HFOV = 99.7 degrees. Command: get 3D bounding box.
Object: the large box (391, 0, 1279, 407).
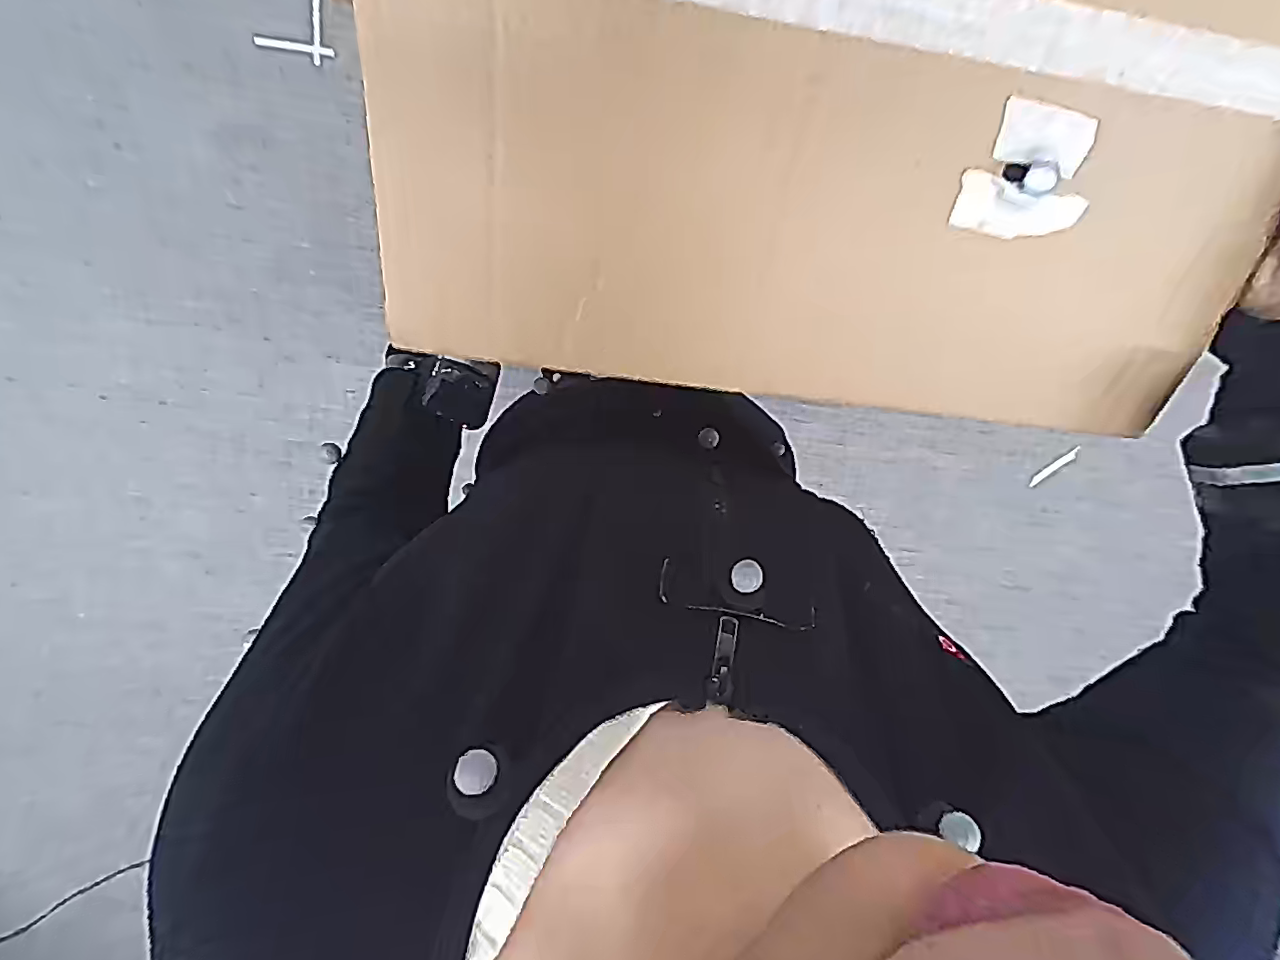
[{"bbox_3d":[0.094,-0.262,0.339,0.408,0.320,0.320,5,121,-9],"label":"large box"}]
